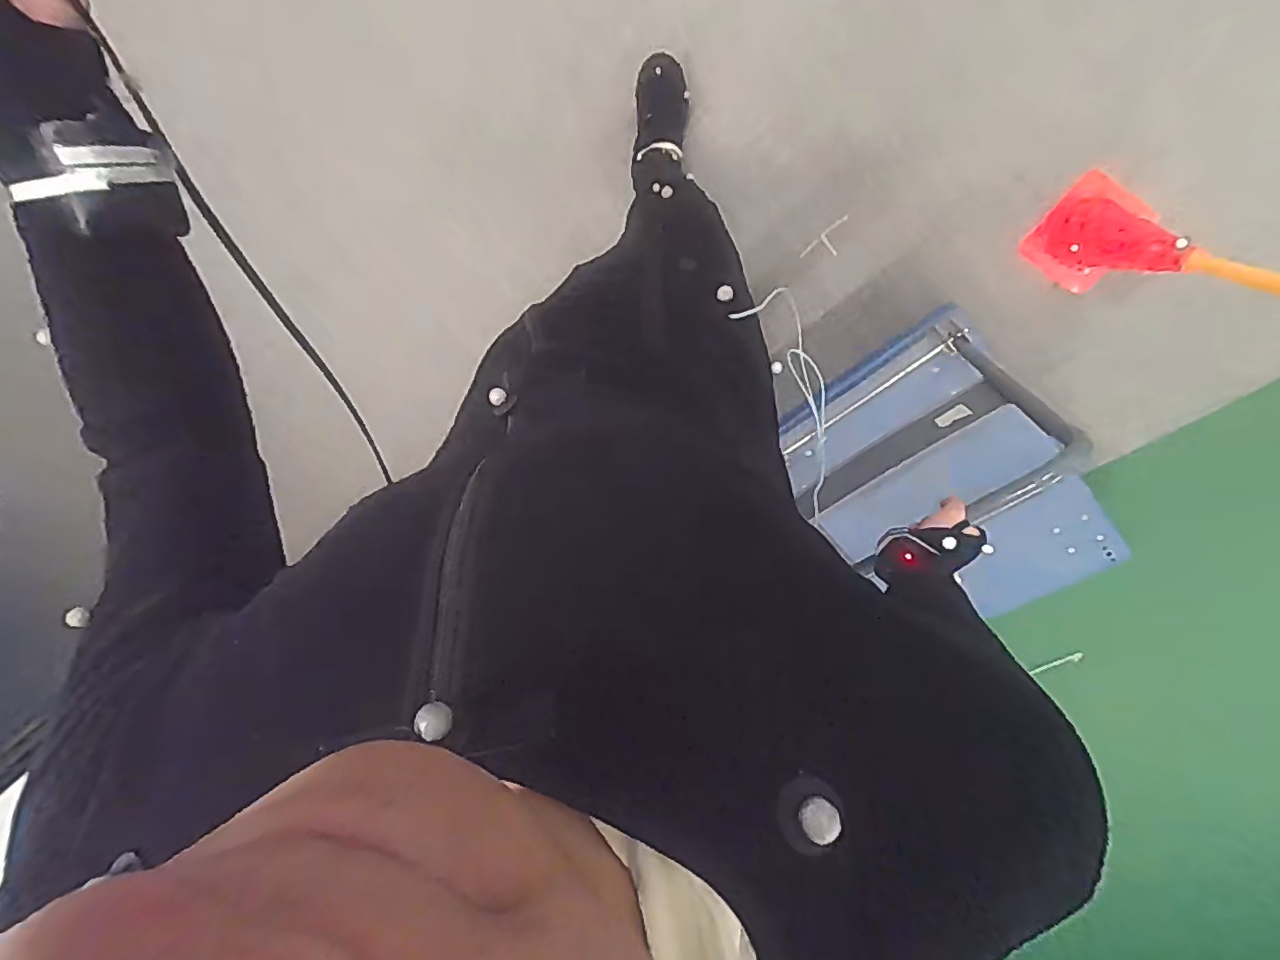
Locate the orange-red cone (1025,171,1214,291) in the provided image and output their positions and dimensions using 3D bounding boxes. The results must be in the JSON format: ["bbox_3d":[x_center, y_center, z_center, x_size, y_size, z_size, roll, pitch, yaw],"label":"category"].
[{"bbox_3d":[0.980,-0.465,1.065,0.198,0.360,0.199,31,121,-9],"label":"orange-red cone"}]
